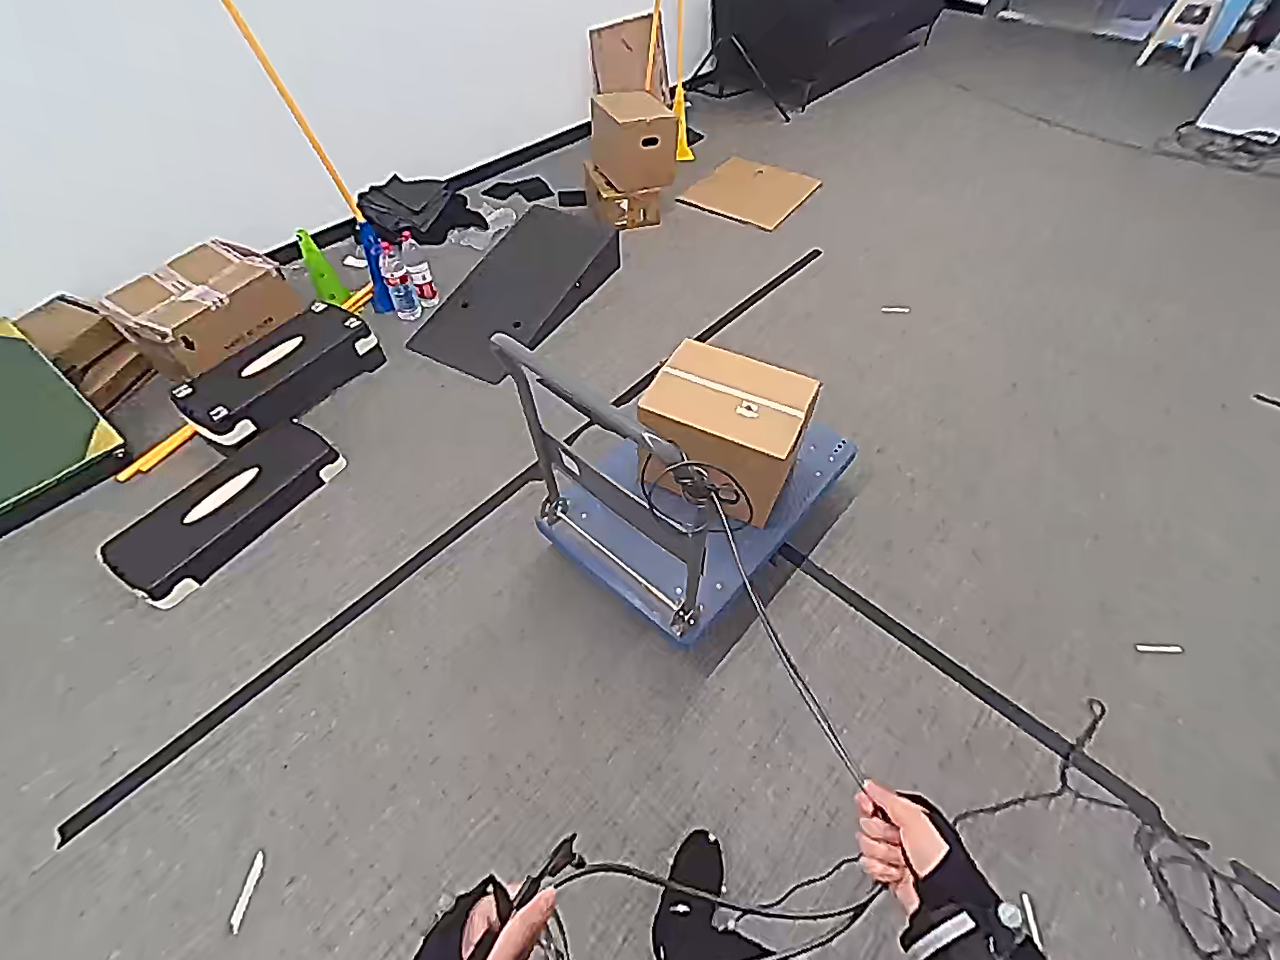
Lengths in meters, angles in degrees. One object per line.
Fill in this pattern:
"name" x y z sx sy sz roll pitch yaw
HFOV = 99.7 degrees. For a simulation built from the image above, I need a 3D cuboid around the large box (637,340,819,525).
"large box" 0.232 -0.135 1.528 0.408 0.320 0.320 23 57 16
